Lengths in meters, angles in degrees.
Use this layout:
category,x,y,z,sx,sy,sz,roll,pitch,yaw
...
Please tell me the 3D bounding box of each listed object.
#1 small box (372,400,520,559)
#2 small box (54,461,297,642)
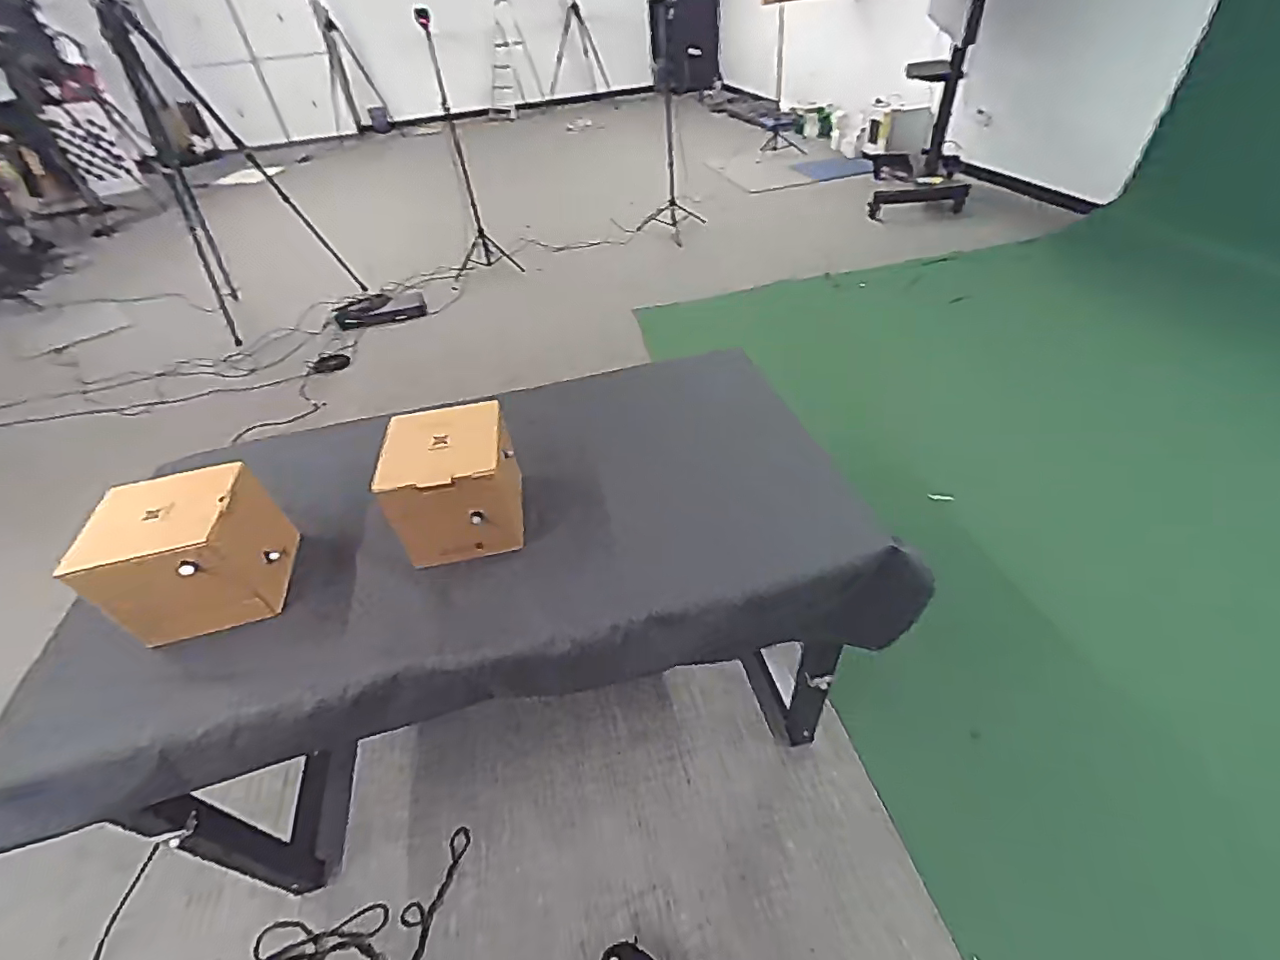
category,x,y,z,sx,sy,sz,roll,pitch,yaw
small box,-0.284,0.004,0.833,0.168,0.176,0.179,-10,42,-6
small box,-0.632,0.103,0.767,0.179,0.176,0.168,-14,43,-9
